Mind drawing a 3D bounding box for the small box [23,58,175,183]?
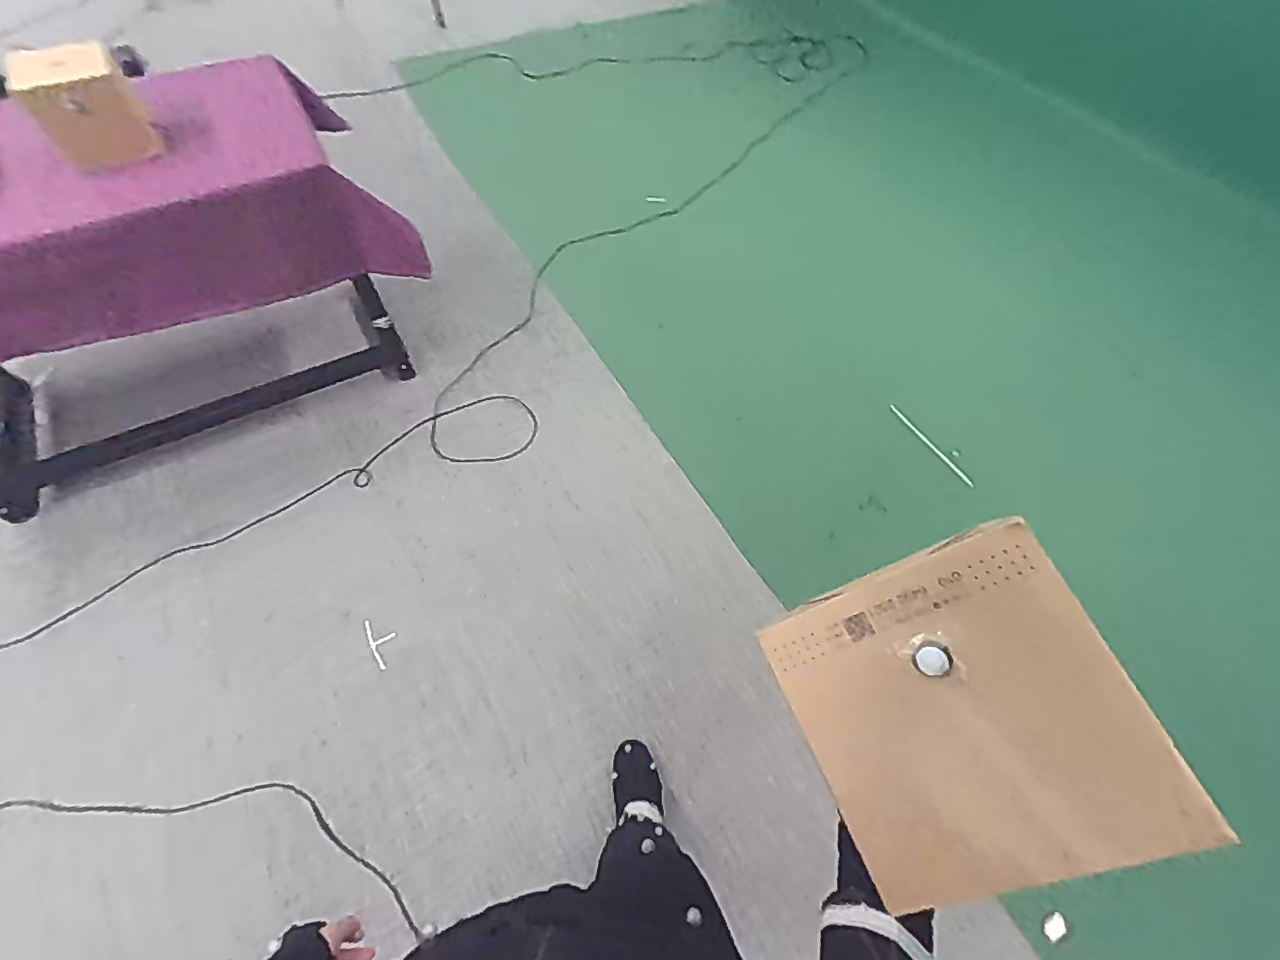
[{"bbox_3d":[-1.188,-0.789,1.196,0.179,0.176,0.168,-25,63,-17],"label":"small box"}]

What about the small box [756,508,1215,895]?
[{"bbox_3d":[0.206,0.130,0.375,0.168,0.179,0.176,-33,70,20],"label":"small box"}]
